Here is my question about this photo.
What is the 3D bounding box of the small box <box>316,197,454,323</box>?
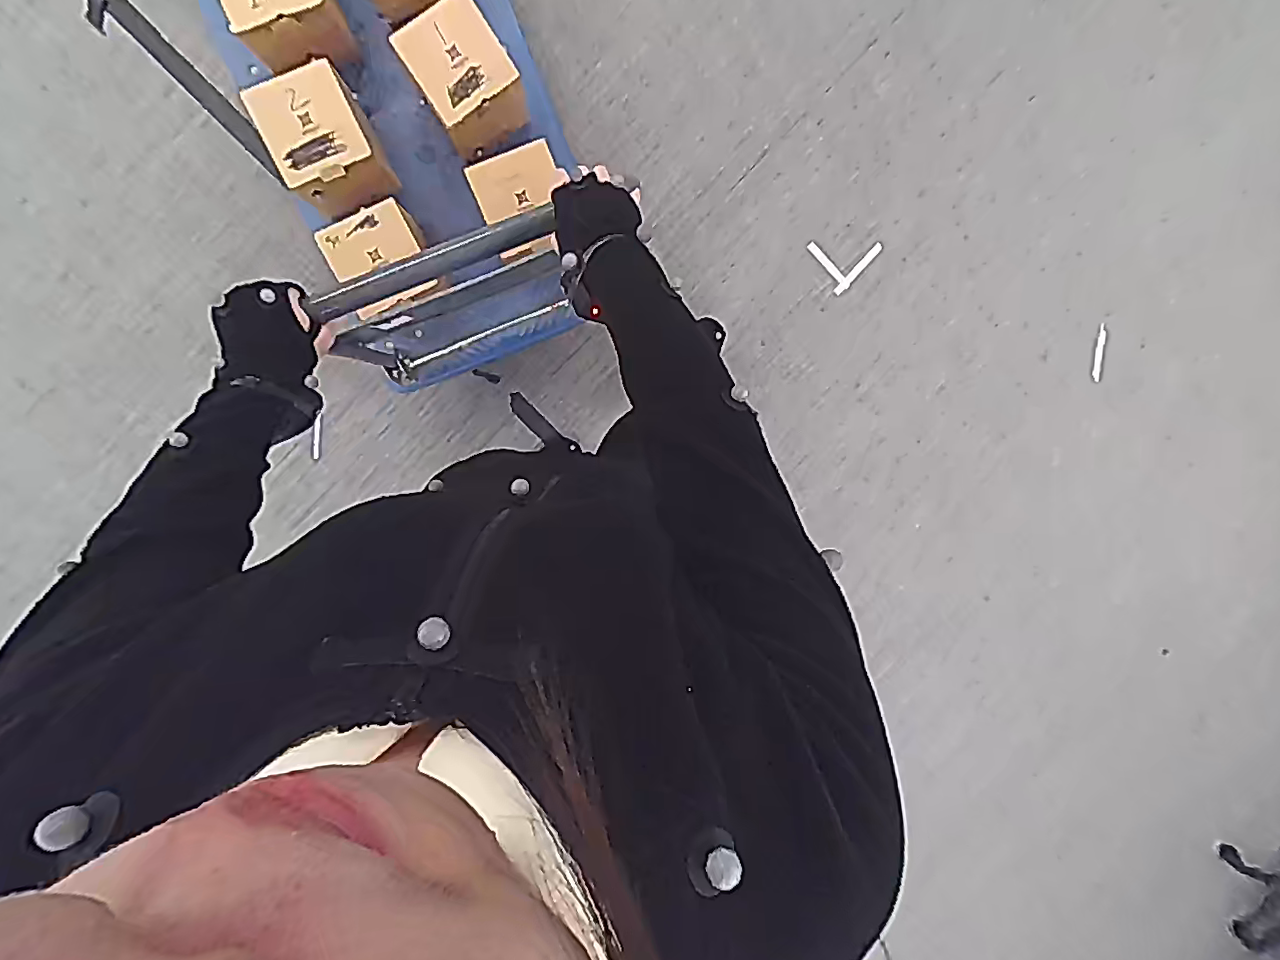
[{"bbox_3d":[-0.501,-0.431,1.097,0.168,0.176,0.179,-27,102,-3],"label":"small box"}]

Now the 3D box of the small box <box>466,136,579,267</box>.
[{"bbox_3d":[-0.230,-0.556,1.110,0.168,0.176,0.179,-23,102,-3],"label":"small box"}]

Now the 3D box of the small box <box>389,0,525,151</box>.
[{"bbox_3d":[-0.342,-0.781,1.054,0.168,0.176,0.179,-36,101,0],"label":"small box"}]

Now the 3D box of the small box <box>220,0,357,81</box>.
[{"bbox_3d":[-0.661,-0.892,0.995,0.168,0.176,0.179,-22,102,-2],"label":"small box"}]
